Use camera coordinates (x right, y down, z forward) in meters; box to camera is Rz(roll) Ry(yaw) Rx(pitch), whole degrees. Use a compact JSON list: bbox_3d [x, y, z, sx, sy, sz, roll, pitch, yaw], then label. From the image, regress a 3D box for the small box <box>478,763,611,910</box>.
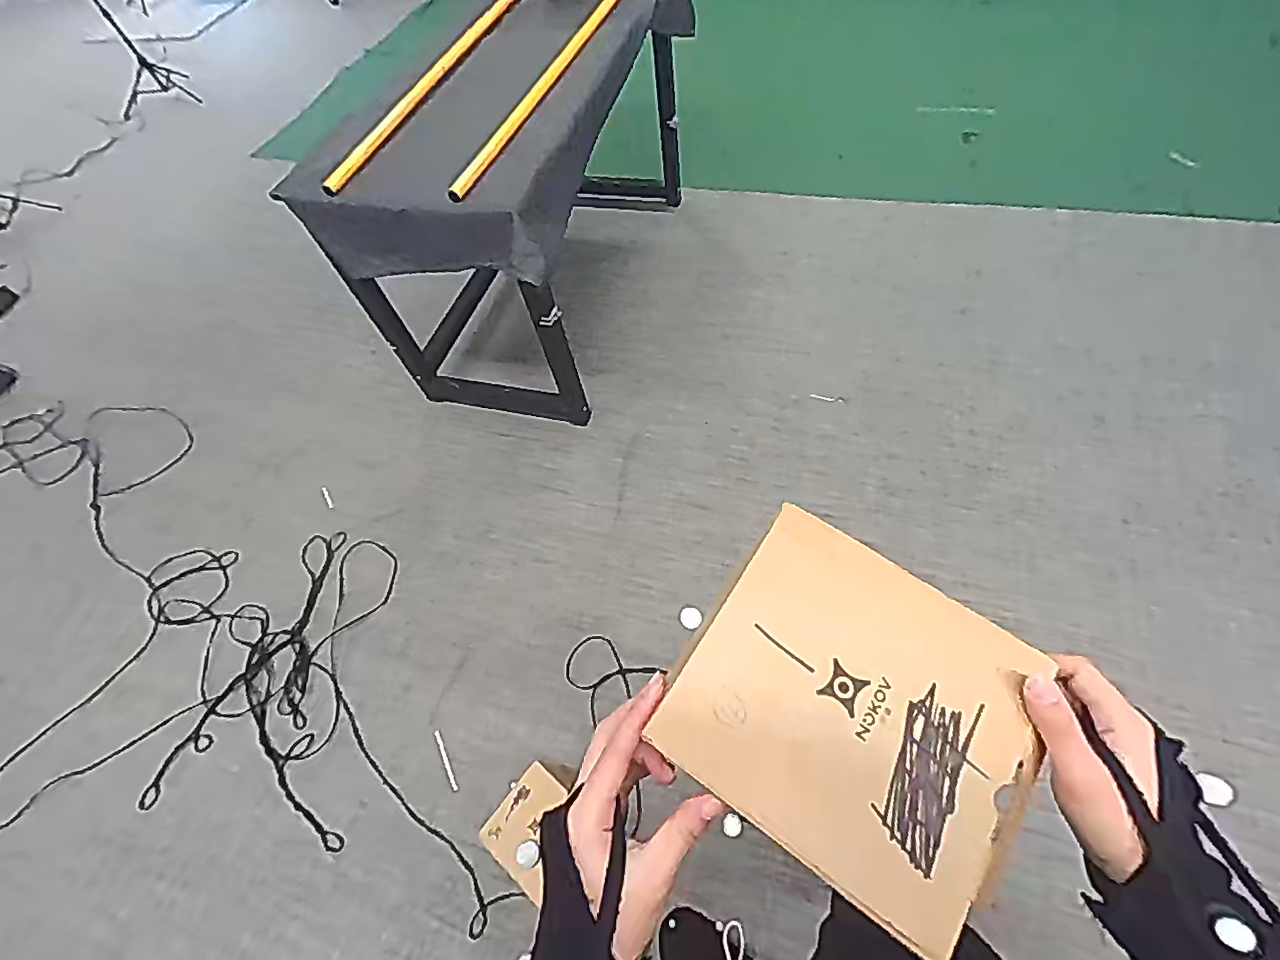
[{"bbox_3d":[-0.178,0.690,1.067,0.179,0.176,0.168,32,69,24],"label":"small box"}]
